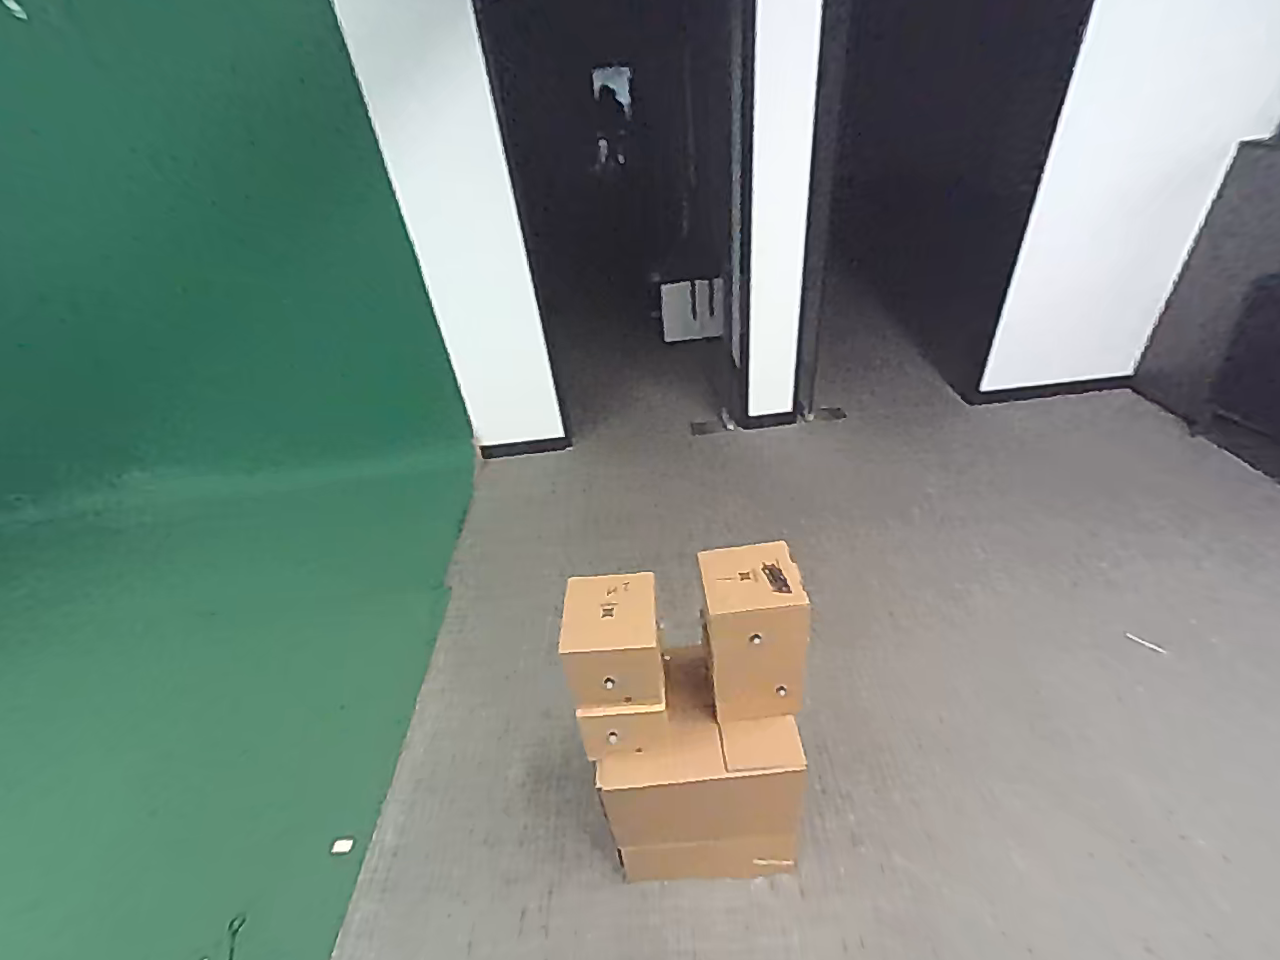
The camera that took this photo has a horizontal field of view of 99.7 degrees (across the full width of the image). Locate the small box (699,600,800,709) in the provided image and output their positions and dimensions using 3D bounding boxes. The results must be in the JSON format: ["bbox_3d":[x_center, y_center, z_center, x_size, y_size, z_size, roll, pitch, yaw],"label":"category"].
[{"bbox_3d":[0.224,0.359,1.140,0.179,0.176,0.168,-8,36,1],"label":"small box"}]

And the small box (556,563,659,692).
[{"bbox_3d":[-0.051,0.279,1.012,0.168,0.176,0.179,-3,37,3],"label":"small box"}]

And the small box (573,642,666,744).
[{"bbox_3d":[-0.037,0.418,1.100,0.168,0.176,0.179,-4,37,2],"label":"small box"}]

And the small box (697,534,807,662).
[{"bbox_3d":[0.208,0.228,1.042,0.179,0.176,0.168,-7,36,3],"label":"small box"}]
